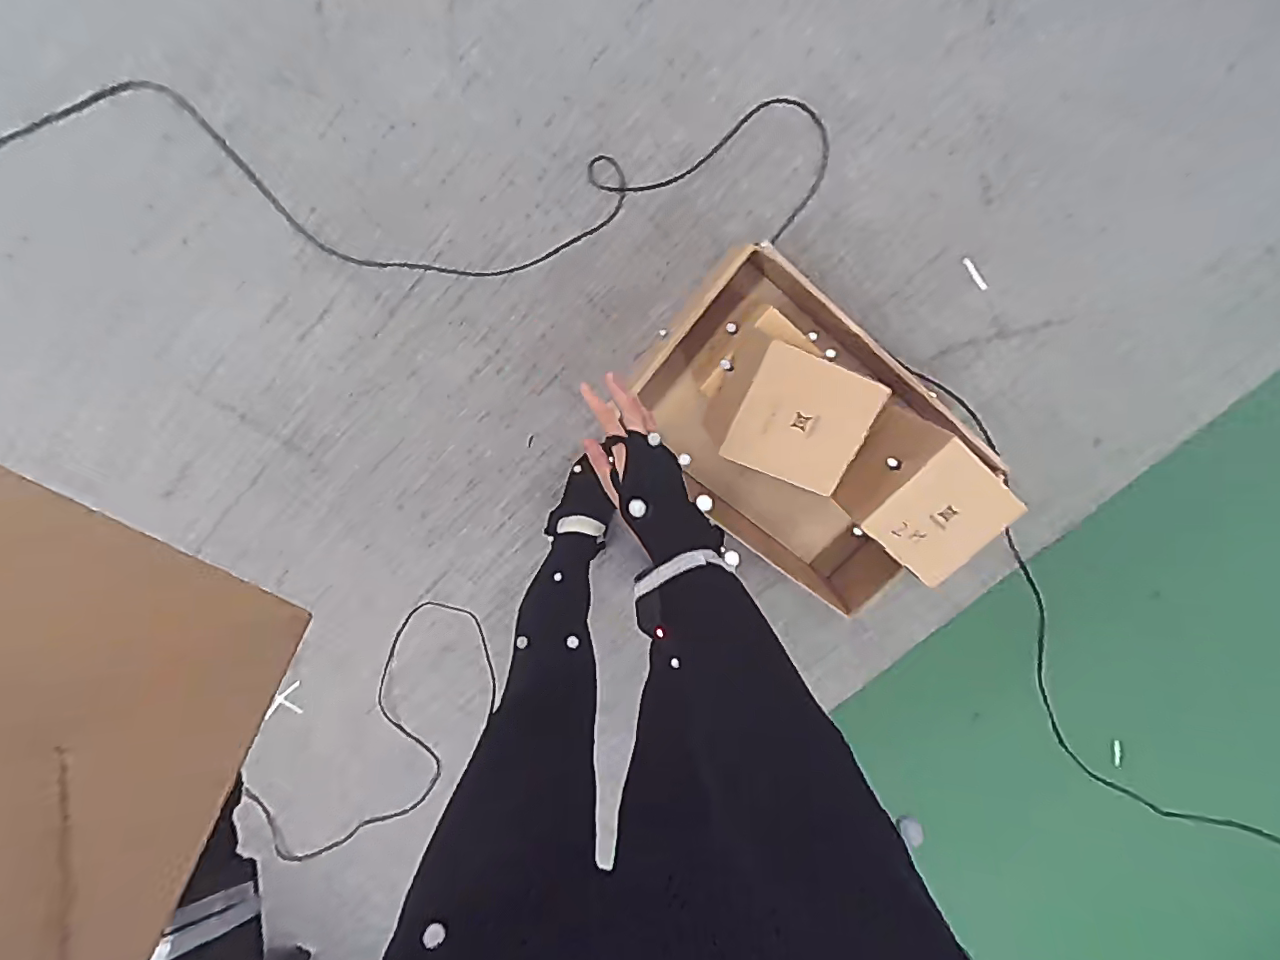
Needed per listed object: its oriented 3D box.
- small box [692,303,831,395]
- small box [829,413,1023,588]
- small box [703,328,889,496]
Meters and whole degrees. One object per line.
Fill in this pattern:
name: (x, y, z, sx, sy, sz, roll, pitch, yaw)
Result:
small box: (0.207, -0.183, 0.921, 0.179, 0.176, 0.168, 37, 107, -16)
small box: (0.418, 0.022, 0.829, 0.168, 0.176, 0.179, 39, 106, -14)
small box: (0.208, -0.106, 0.777, 0.179, 0.176, 0.168, 21, 110, -10)
